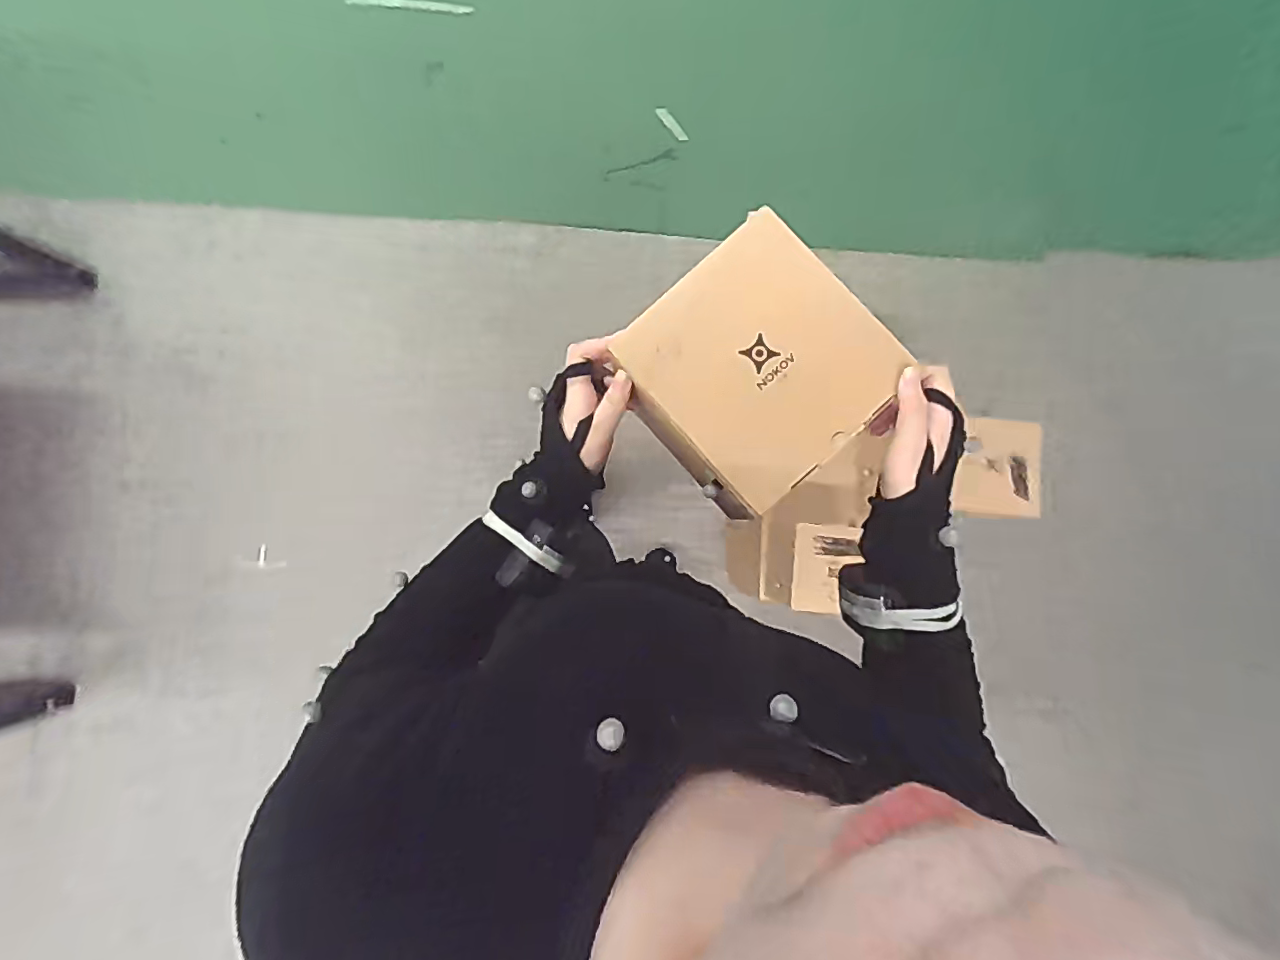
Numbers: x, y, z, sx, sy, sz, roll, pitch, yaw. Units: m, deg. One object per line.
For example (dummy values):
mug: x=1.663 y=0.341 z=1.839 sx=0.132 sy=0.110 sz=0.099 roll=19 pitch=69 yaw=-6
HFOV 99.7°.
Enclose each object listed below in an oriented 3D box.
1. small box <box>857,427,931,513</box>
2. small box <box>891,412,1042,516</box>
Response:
small box: x=0.600 y=-0.015 z=1.178 sx=0.179 sy=0.176 sz=0.168 roll=4 pitch=84 yaw=-6
small box: x=0.603 y=-0.022 z=1.013 sx=0.179 sy=0.176 sz=0.168 roll=6 pitch=84 yaw=-6
